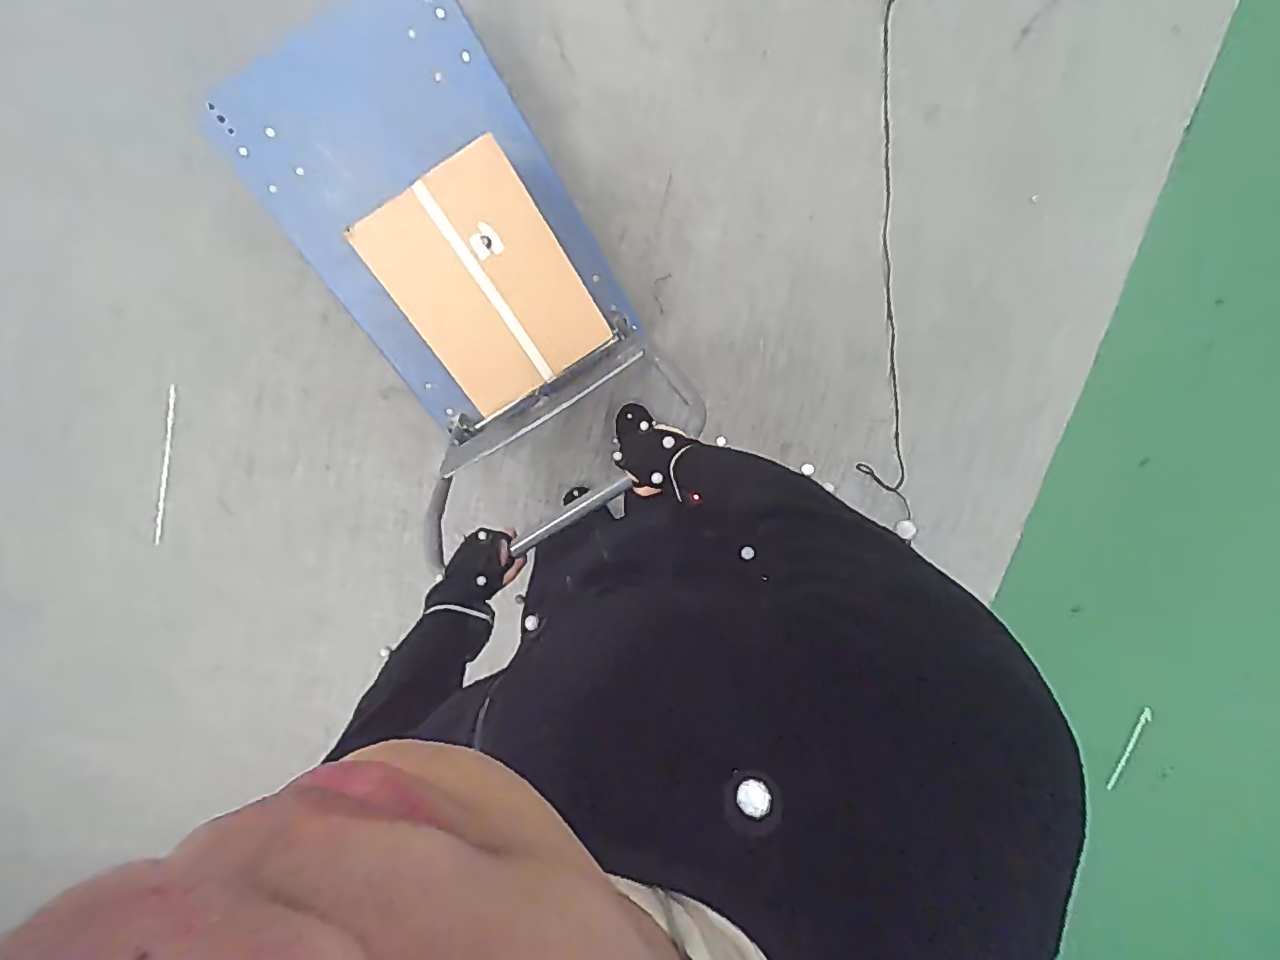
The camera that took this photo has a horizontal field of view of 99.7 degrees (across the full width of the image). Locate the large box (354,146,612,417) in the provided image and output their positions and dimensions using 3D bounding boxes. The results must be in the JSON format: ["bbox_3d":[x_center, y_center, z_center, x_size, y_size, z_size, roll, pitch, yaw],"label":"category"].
[{"bbox_3d":[-0.305,-0.410,1.168,0.320,0.320,0.408,-32,113,3],"label":"large box"}]
